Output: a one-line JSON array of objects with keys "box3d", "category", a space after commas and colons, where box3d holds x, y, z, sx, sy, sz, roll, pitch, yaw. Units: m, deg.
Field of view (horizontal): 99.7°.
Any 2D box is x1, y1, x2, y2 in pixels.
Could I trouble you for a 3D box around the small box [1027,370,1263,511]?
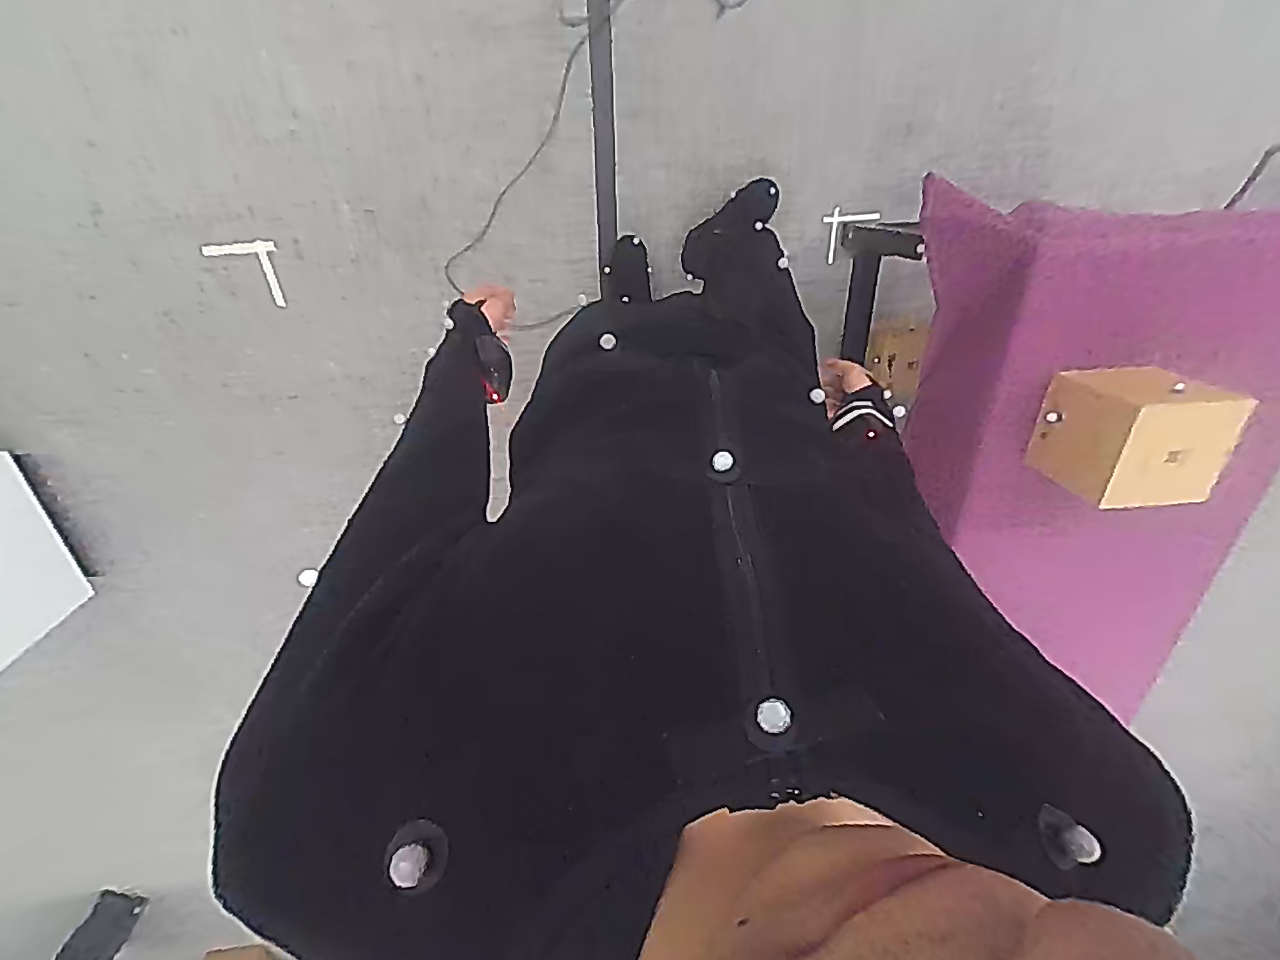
[{"box3d": [0.762, -0.067, 0.841, 0.179, 0.176, 0.168, -3, 118, -3], "category": "small box"}]
